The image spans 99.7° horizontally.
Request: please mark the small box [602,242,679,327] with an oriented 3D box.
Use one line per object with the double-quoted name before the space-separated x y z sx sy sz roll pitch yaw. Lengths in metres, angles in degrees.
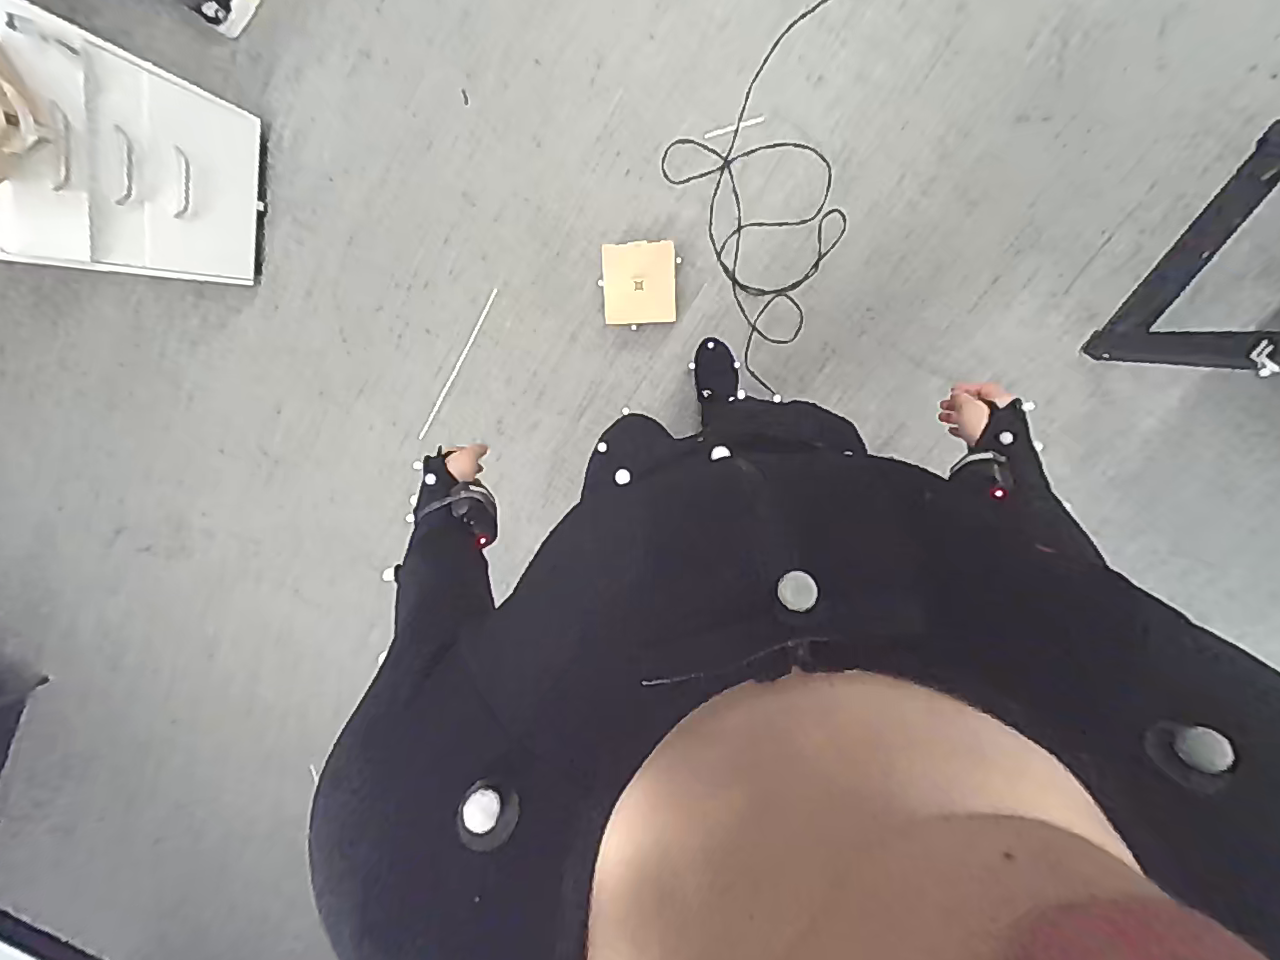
"small box" 0.007 -0.464 1.304 0.168 0.176 0.179 -2 105 6
